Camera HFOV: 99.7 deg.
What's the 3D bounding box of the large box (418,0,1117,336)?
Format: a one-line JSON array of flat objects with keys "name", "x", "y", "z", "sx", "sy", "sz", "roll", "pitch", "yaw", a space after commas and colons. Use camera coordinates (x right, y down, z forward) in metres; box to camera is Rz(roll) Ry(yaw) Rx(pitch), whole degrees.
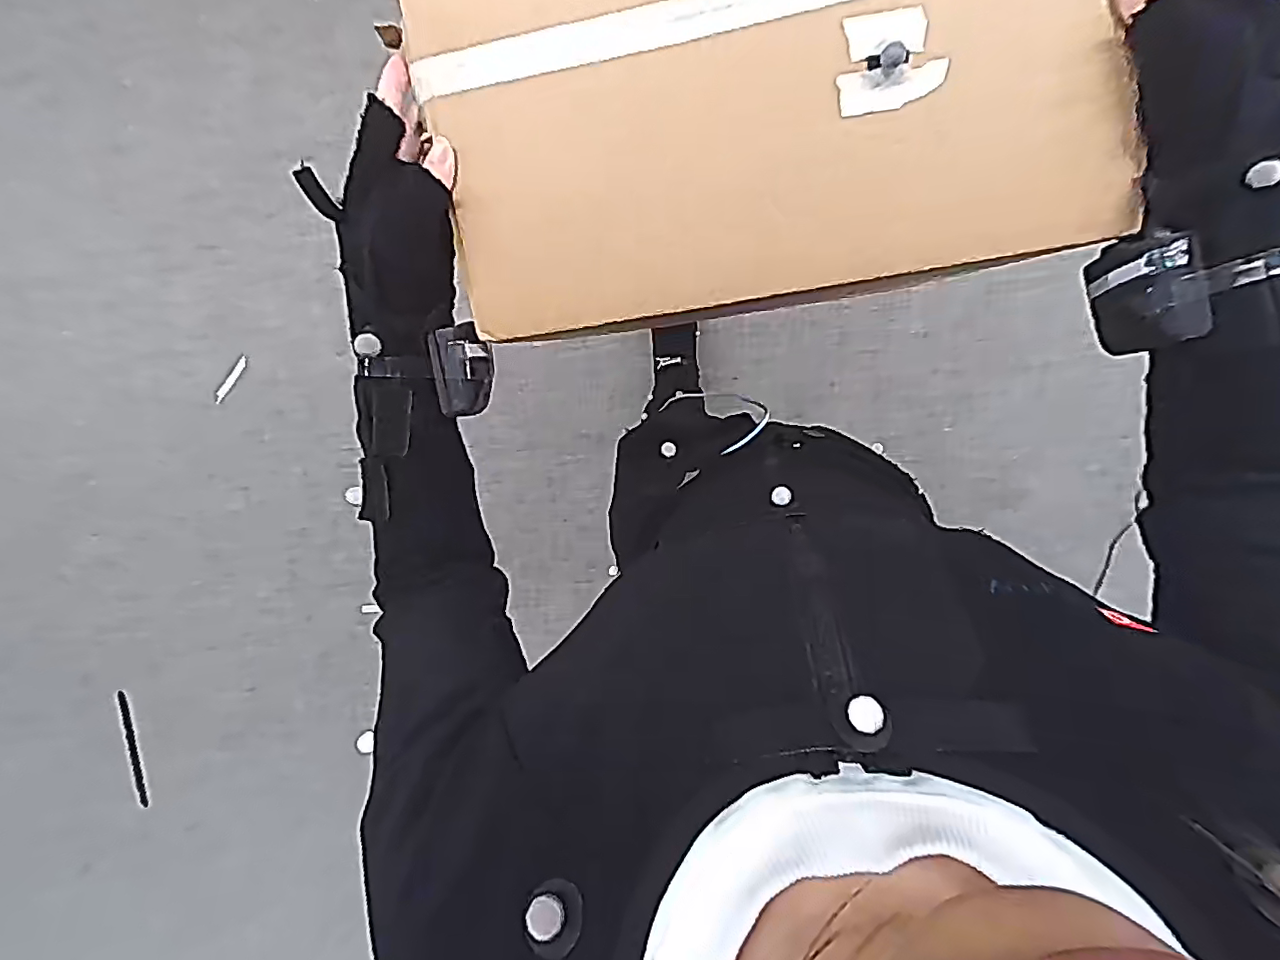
[{"name": "large box", "x": 0.076, "y": -0.314, "z": 0.461, "sx": 0.408, "sy": 0.320, "sz": 0.320, "roll": -8, "pitch": 105, "yaw": 6}]
